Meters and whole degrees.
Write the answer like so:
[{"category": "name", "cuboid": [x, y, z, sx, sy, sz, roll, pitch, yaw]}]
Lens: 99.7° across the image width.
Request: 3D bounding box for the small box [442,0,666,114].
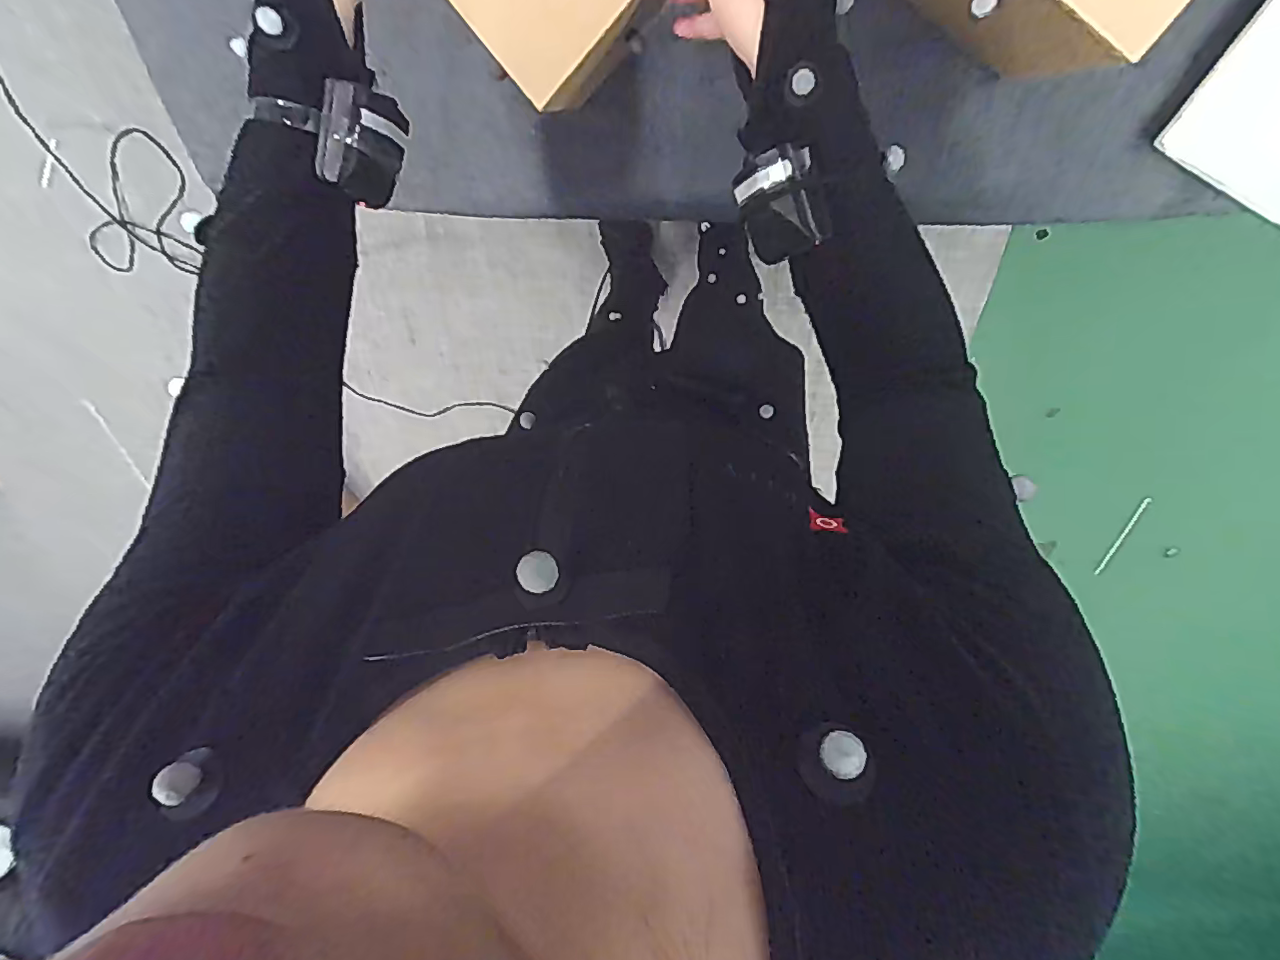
[{"category": "small box", "cuboid": [-0.064, -0.403, 0.383, 0.168, 0.176, 0.179, -34, 116, 25]}]
